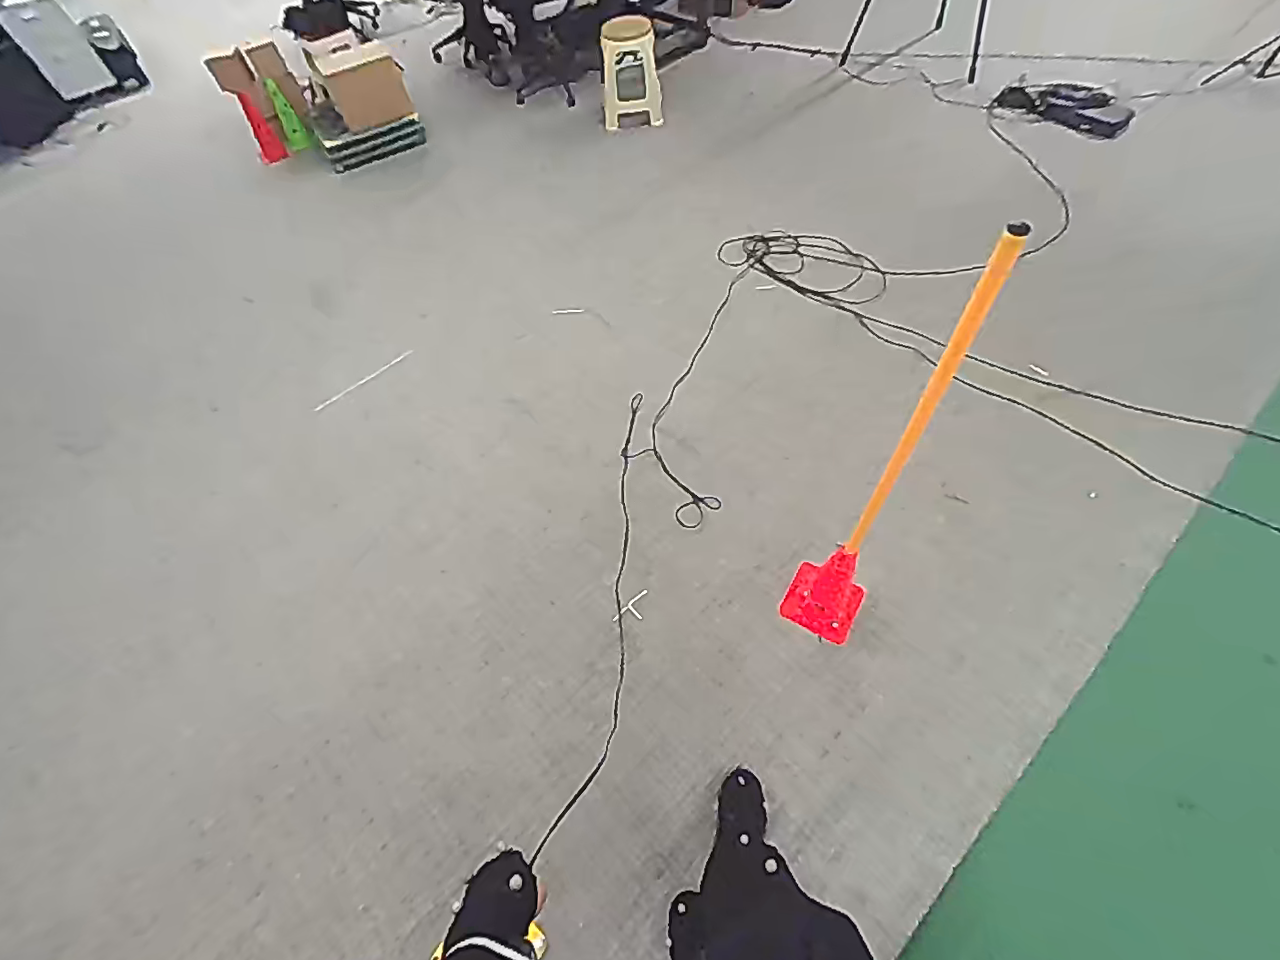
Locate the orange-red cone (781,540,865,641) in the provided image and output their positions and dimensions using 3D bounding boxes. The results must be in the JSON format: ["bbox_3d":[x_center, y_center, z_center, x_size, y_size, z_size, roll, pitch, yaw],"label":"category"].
[{"bbox_3d":[0.526,0.254,1.446,0.198,0.360,0.199,27,62,20],"label":"orange-red cone"}]
